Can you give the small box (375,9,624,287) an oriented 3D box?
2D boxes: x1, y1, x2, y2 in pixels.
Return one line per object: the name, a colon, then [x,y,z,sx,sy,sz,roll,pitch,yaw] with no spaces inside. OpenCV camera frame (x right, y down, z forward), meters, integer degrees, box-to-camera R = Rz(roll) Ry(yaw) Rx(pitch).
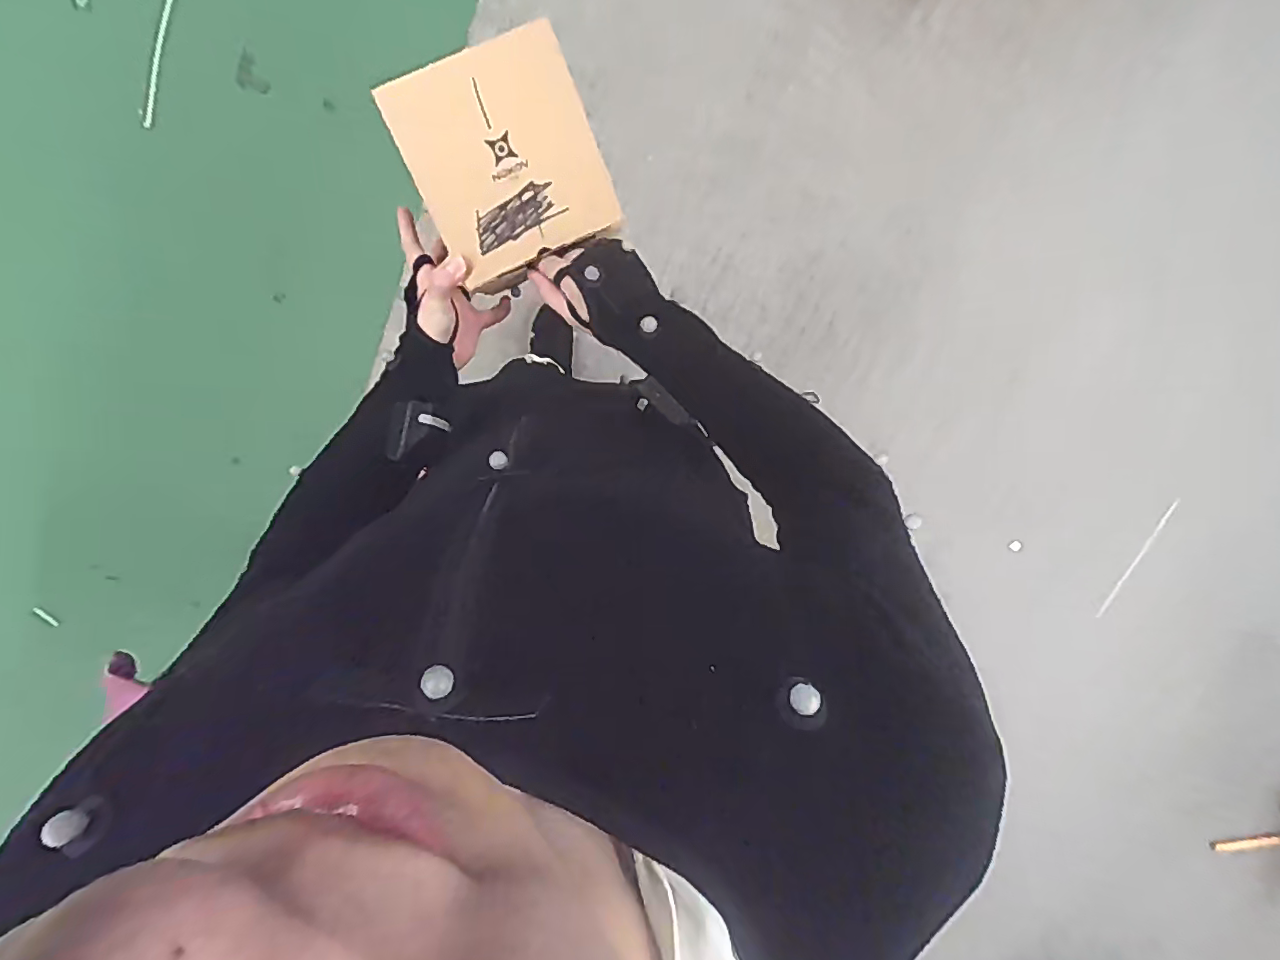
small box: [-0.126,-0.311,0.554,0.168,0.176,0.179,-23,107,0]
